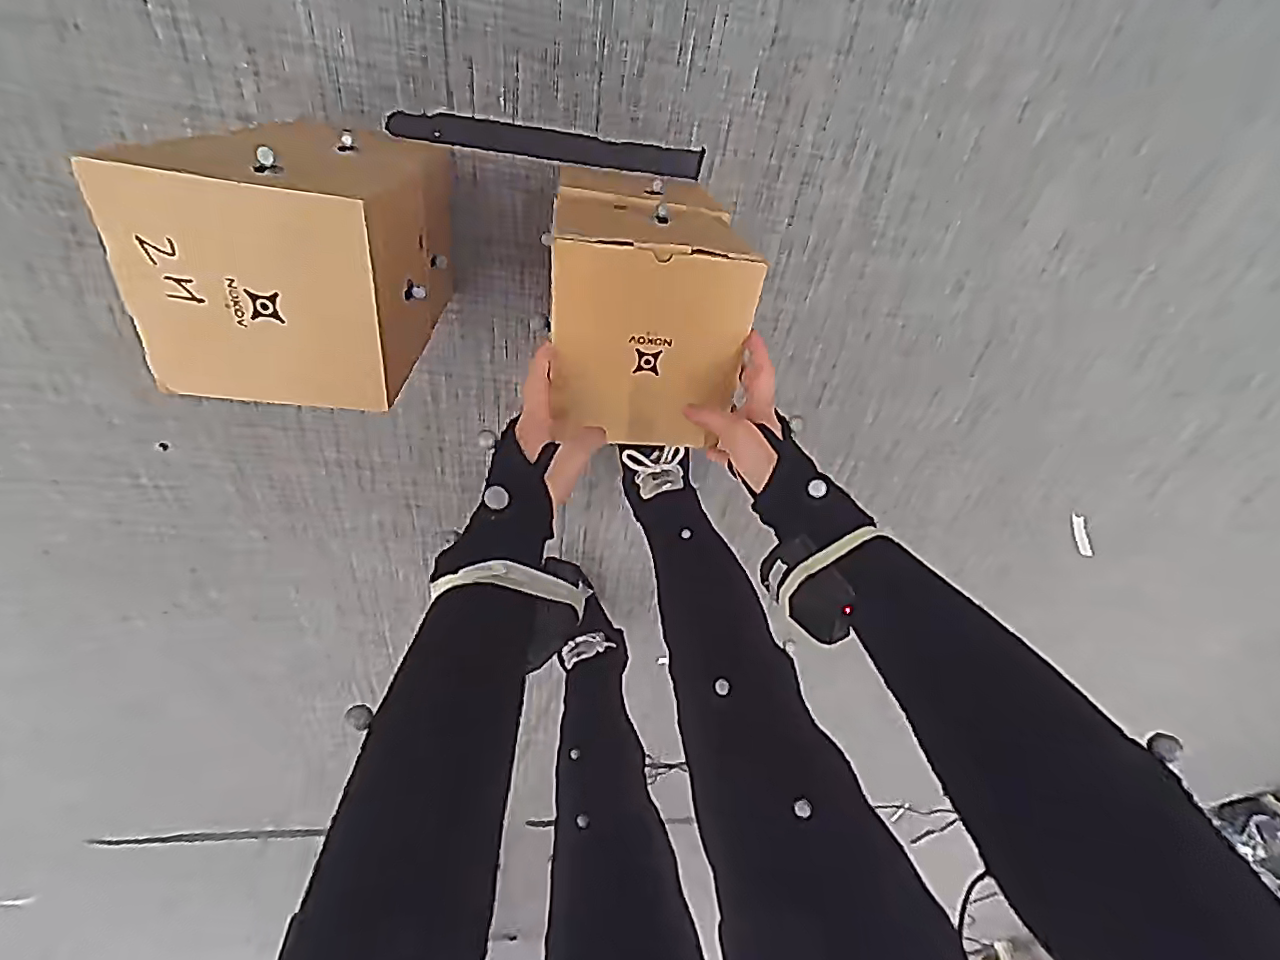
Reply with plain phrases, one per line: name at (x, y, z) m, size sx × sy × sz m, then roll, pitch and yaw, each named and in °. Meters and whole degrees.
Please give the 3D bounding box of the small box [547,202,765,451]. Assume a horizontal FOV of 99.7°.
small box at (0.000, -0.148, 0.517) m, size 0.168 × 0.176 × 0.179 m, roll 2°, pitch 125°, yaw -9°

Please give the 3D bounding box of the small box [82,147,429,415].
small box at (-0.286, -0.173, 0.462) m, size 0.179 × 0.176 × 0.168 m, roll 4°, pitch 125°, yaw -9°

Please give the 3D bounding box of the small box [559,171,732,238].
small box at (-0.011, -0.254, 0.641) m, size 0.179 × 0.176 × 0.168 m, roll 5°, pitch 126°, yaw -9°
